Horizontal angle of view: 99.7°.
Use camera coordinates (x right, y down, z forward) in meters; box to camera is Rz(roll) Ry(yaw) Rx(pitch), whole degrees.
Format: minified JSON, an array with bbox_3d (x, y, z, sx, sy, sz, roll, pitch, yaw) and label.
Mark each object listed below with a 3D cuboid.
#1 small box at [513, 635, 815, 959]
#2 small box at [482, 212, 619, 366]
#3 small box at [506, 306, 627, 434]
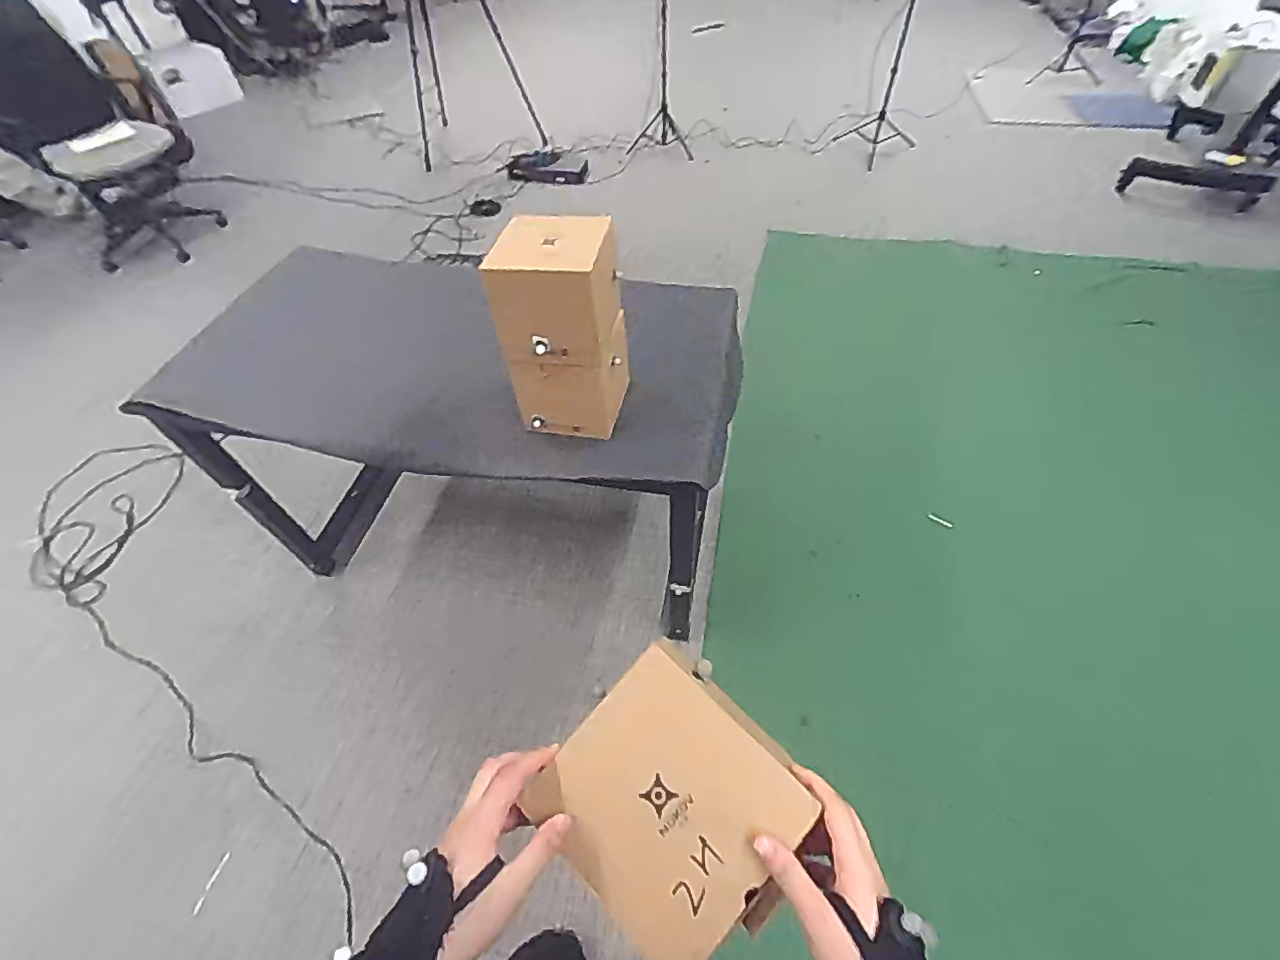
[{"bbox_3d":[0.022,0.260,0.490,0.179,0.176,0.168,40,84,13],"label":"small box"},{"bbox_3d":[-0.129,-0.306,0.866,0.168,0.176,0.179,4,51,8],"label":"small box"},{"bbox_3d":[-0.122,-0.204,0.993,0.168,0.176,0.179,8,50,9],"label":"small box"}]
